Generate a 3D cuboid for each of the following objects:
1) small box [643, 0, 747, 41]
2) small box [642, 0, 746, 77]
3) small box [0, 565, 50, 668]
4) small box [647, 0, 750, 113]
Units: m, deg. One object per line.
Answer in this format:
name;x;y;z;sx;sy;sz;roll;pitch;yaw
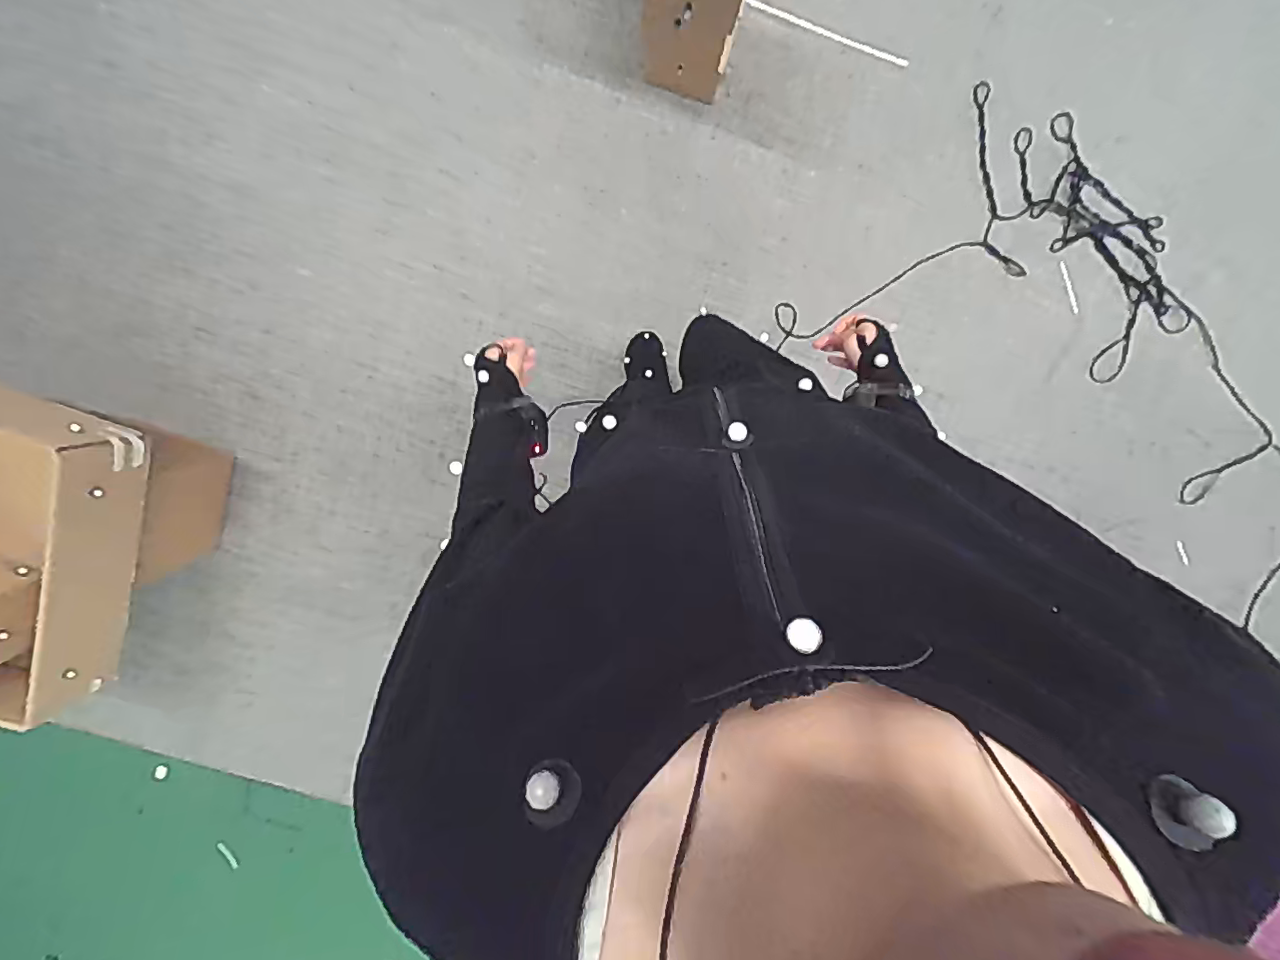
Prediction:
small box;0.109;-0.873;0.888;0.179;0.176;0.168;16;103;-4
small box;0.111;-0.925;1.043;0.179;0.176;0.168;18;104;-4
small box;-1.326;0.274;1.055;0.168;0.176;0.179;21;102;-5
small box;0.122;-0.959;1.204;0.179;0.176;0.168;18;103;-4
